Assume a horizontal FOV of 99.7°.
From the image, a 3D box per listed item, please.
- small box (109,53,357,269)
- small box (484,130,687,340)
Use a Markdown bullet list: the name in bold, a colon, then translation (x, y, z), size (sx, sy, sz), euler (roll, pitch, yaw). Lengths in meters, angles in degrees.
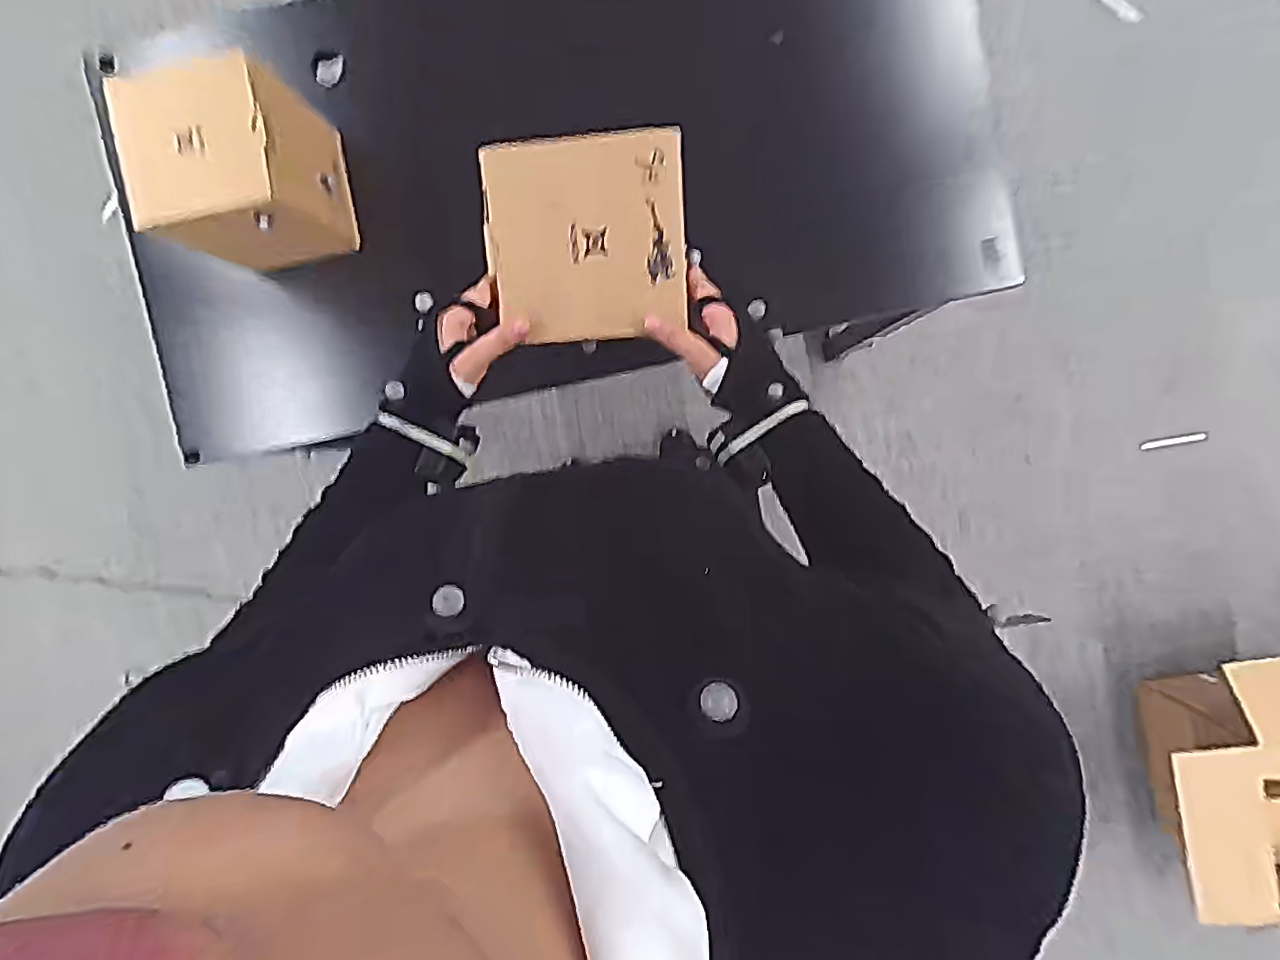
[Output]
- **small box**: translation (-0.505, -0.390, 0.695), size (0.179, 0.176, 0.168), euler (-10, 93, 3)
- **small box**: translation (-0.041, -0.235, 0.563), size (0.179, 0.176, 0.168), euler (-2, 104, 5)
